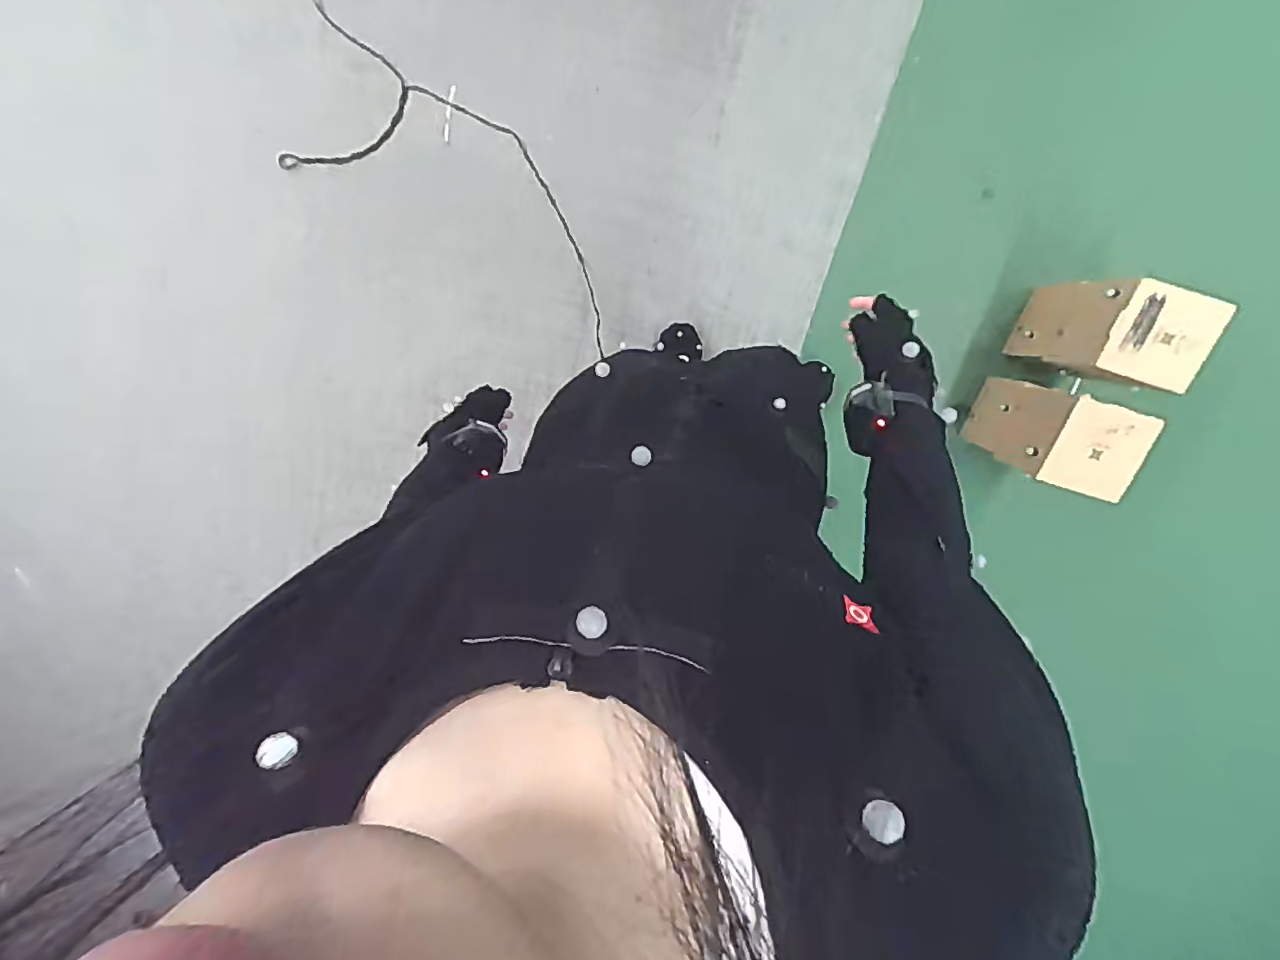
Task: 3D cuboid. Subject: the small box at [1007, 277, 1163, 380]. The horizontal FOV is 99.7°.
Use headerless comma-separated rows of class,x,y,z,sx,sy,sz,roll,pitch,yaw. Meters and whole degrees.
small box,0.976,-0.335,1.209,0.179,0.176,0.168,21,107,1
